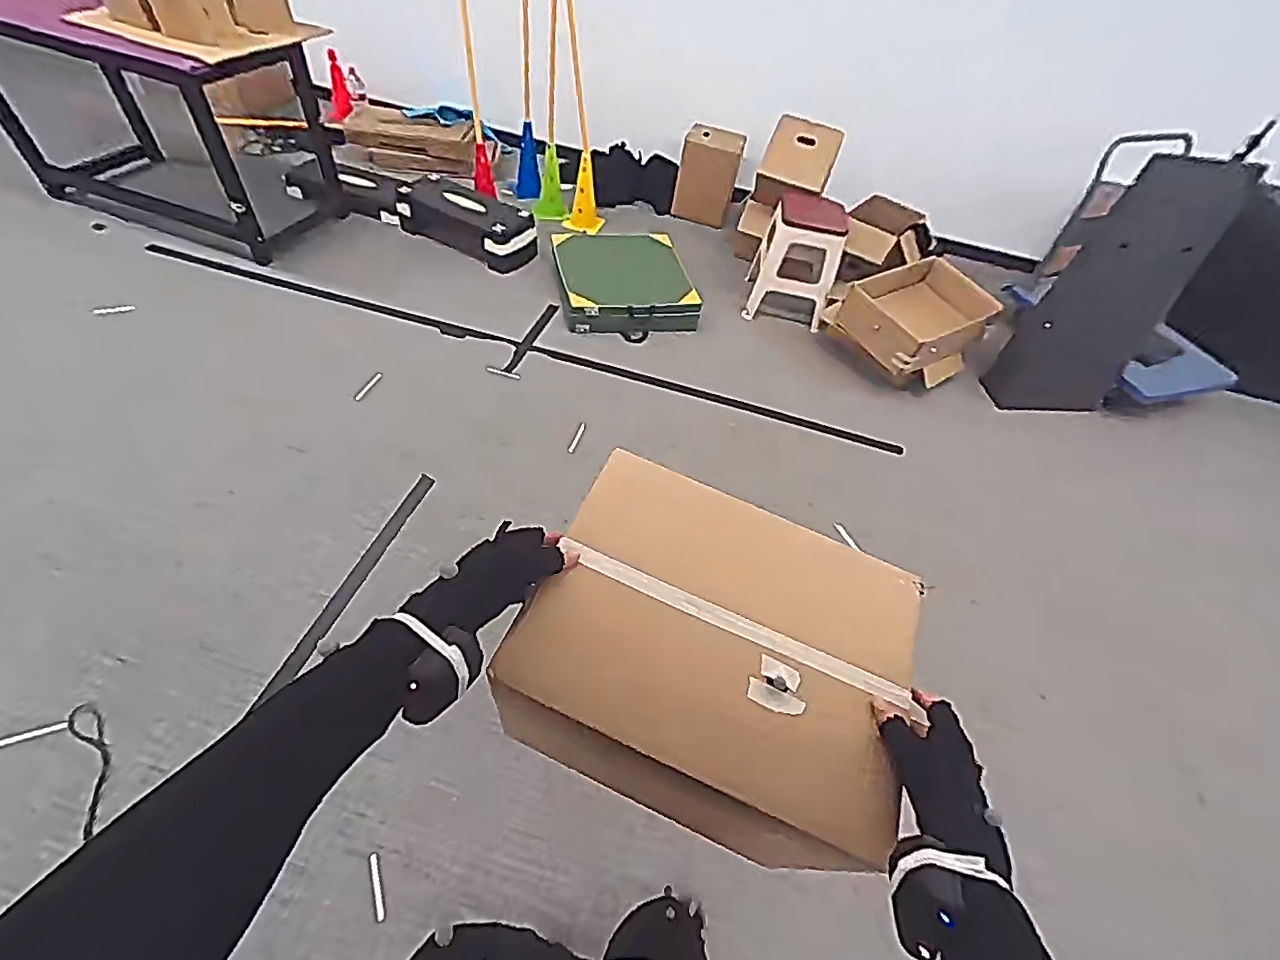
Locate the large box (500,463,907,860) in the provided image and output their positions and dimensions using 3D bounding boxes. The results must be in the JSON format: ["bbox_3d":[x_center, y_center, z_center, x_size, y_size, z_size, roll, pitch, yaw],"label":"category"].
[{"bbox_3d":[0.069,0.245,0.720,0.408,0.320,0.320,24,56,5],"label":"large box"}]
